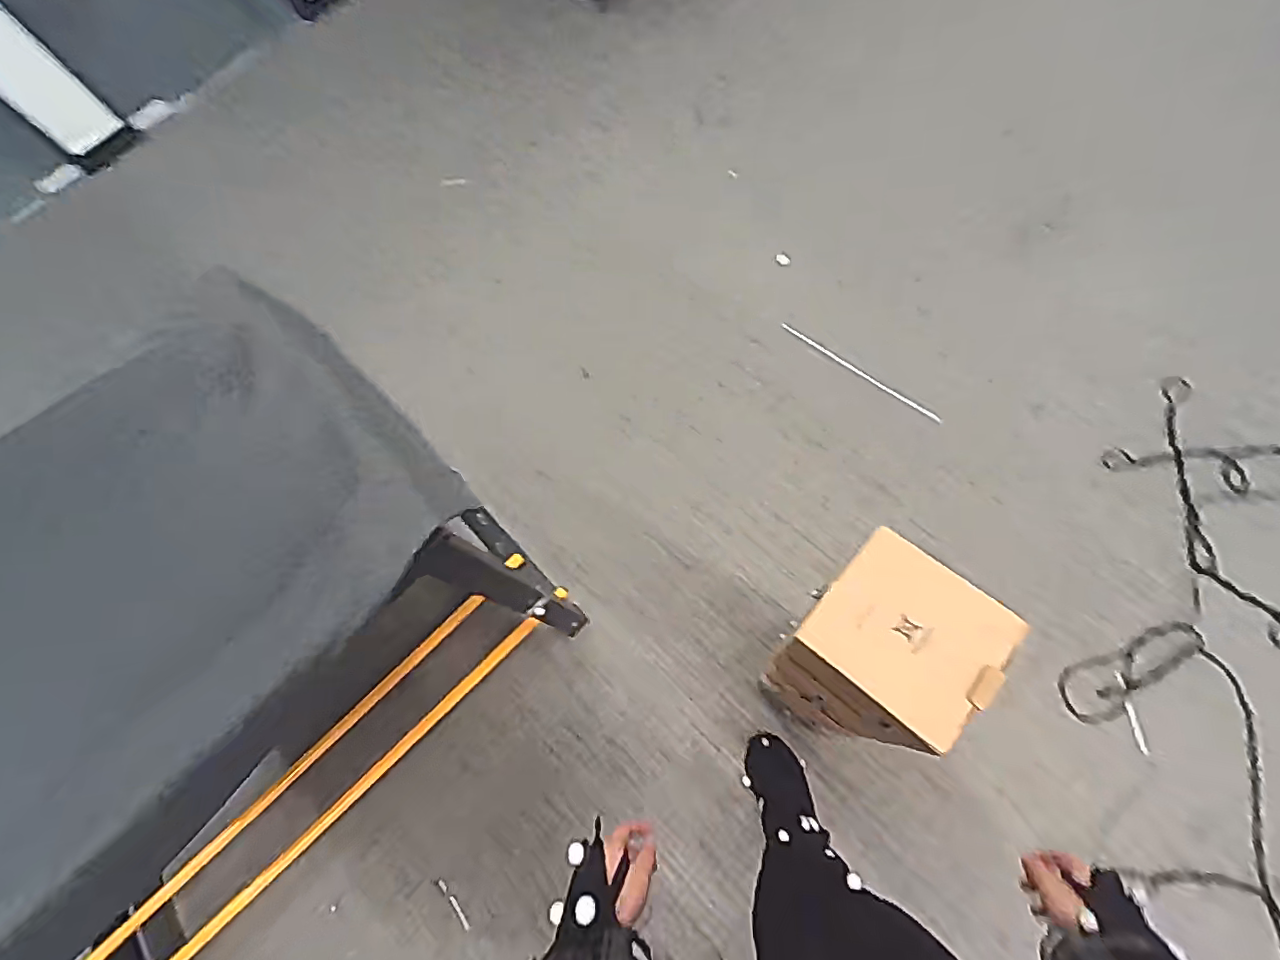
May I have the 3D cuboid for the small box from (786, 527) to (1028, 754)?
[{"bbox_3d":[0.295,0.188,0.641,0.179,0.176,0.168,38,78,22],"label":"small box"}]

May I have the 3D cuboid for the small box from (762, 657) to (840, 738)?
[{"bbox_3d":[0.357,0.385,1.086,0.168,0.176,0.179,37,78,22],"label":"small box"}]

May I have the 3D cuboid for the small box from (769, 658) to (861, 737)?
[{"bbox_3d":[0.340,0.316,0.938,0.168,0.176,0.179,38,77,21],"label":"small box"}]

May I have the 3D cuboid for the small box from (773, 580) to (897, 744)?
[{"bbox_3d":[0.316,0.250,0.789,0.179,0.176,0.168,38,77,20],"label":"small box"}]
